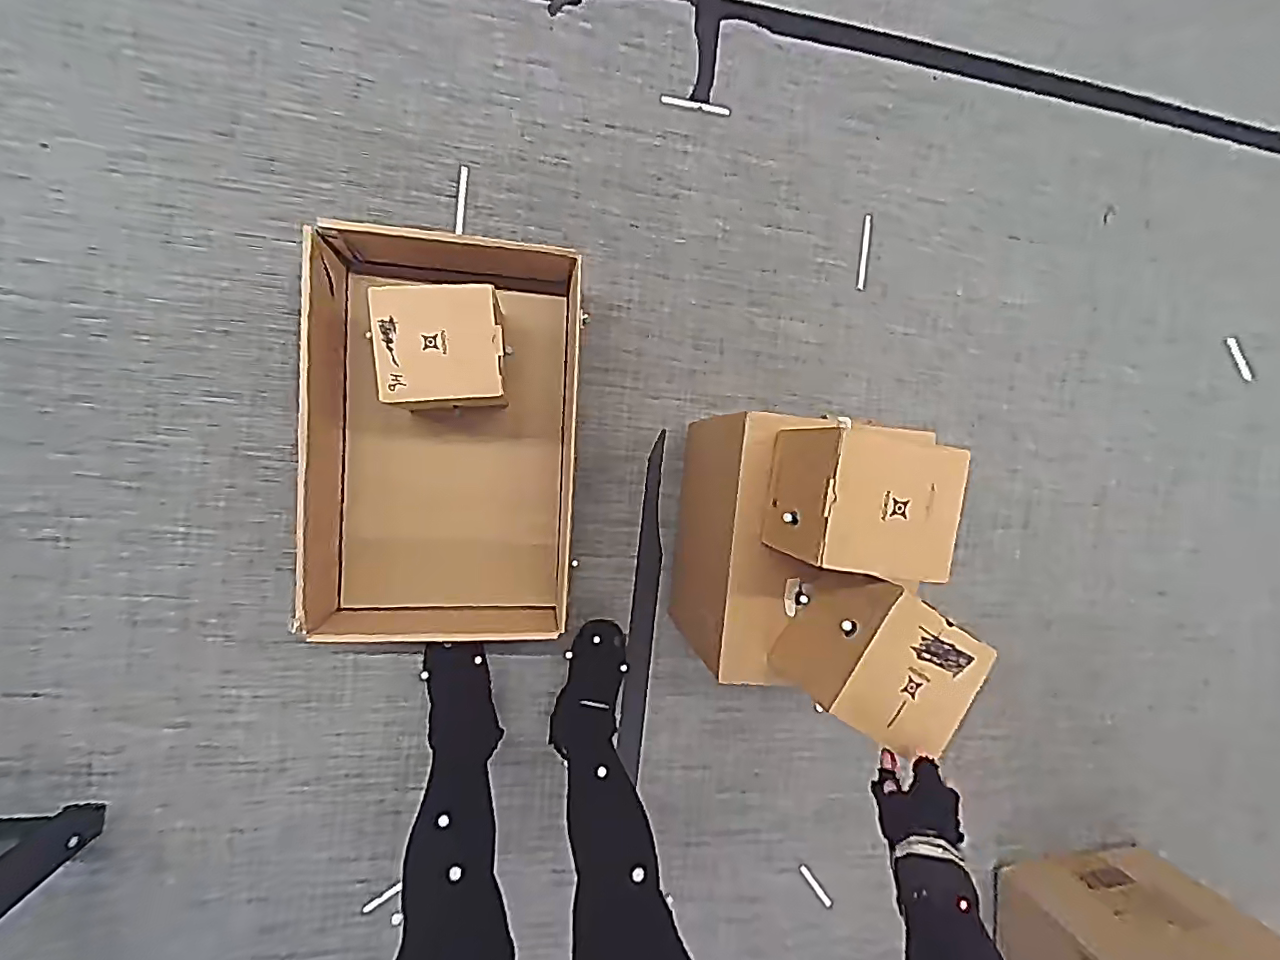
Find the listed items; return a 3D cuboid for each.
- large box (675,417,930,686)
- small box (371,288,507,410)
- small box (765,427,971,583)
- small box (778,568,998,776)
[{"bbox_3d":[0.257,0.105,0.957,0.320,0.320,0.408,5,93,-9],"label":"large box"},{"bbox_3d":[-0.307,-0.201,0.861,0.179,0.176,0.168,-5,94,-10],"label":"small box"},{"bbox_3d":[0.284,0.027,0.710,0.179,0.176,0.168,8,93,-11],"label":"small box"},{"bbox_3d":[0.315,0.240,0.724,0.168,0.176,0.179,34,87,-10],"label":"small box"}]
